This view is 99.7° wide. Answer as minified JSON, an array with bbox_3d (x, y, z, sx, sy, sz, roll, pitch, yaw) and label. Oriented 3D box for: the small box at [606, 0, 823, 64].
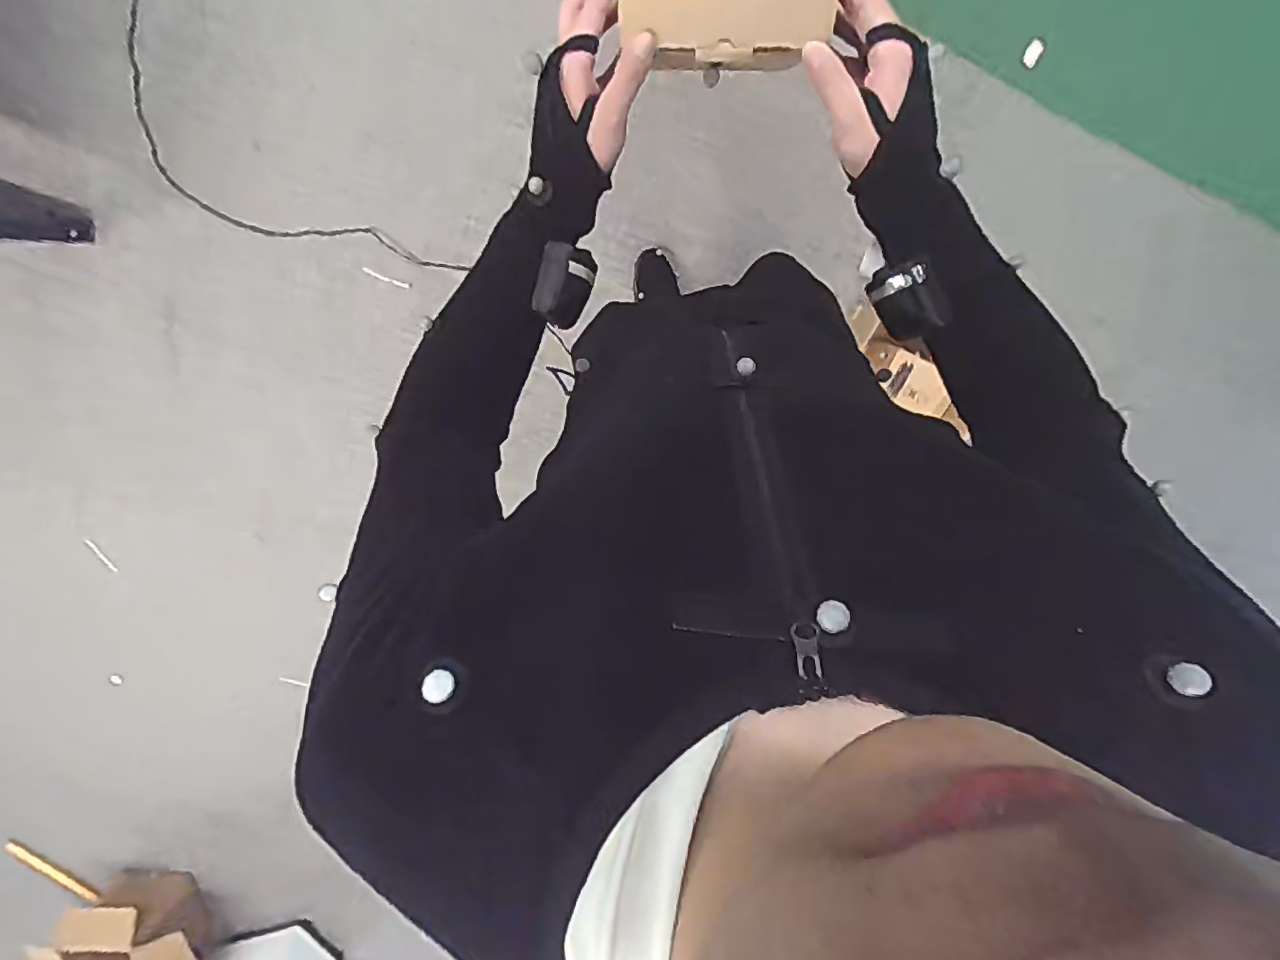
[{"bbox_3d":[0.059,-0.451,0.439,0.168,0.176,0.179,0,124,1],"label":"small box"}]
